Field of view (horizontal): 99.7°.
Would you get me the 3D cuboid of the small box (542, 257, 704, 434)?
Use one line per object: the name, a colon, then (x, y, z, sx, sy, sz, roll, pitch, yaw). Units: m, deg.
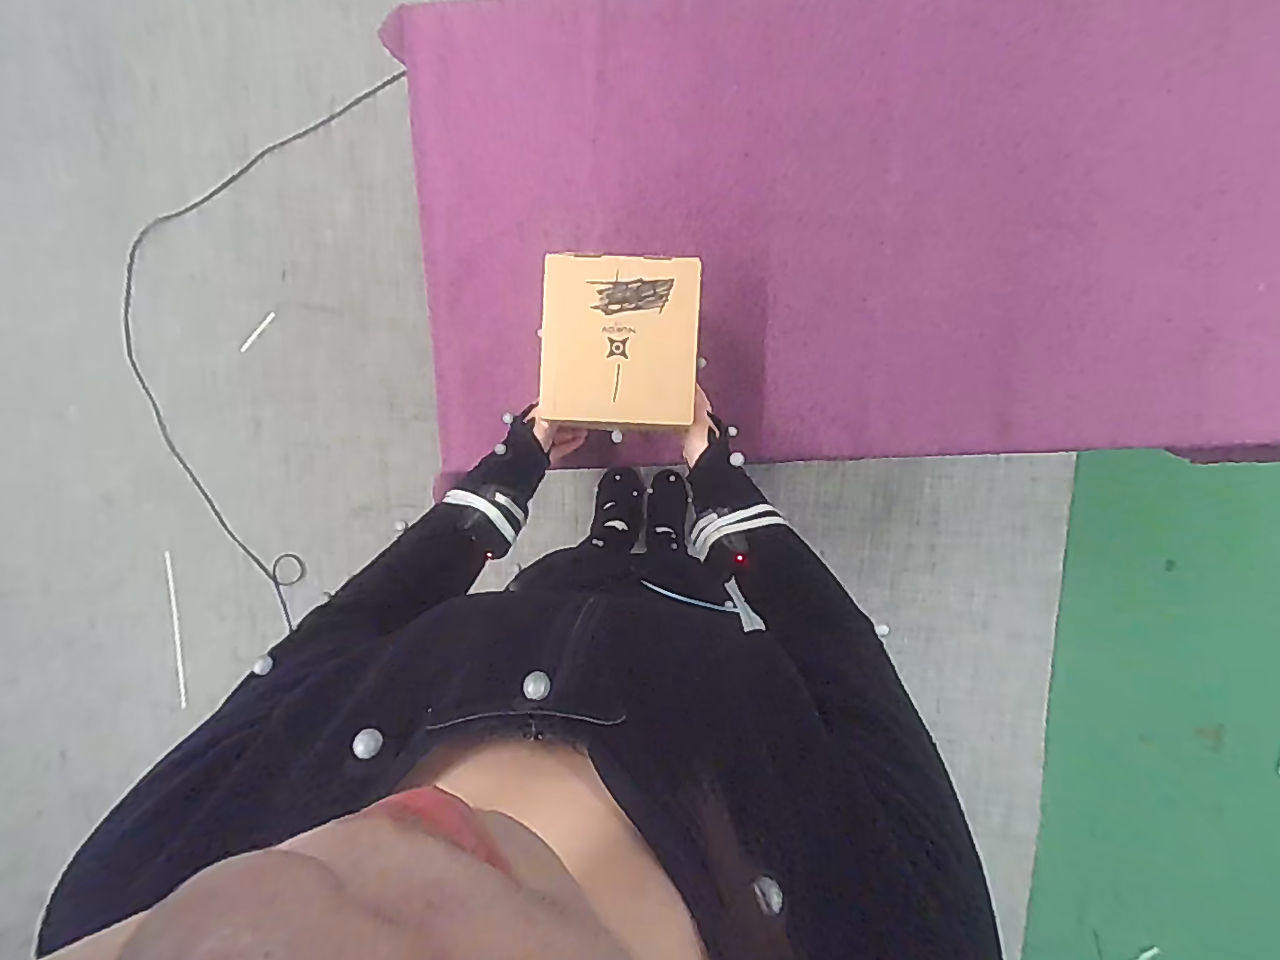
small box: (-0.017, -0.149, 0.652, 0.168, 0.176, 0.179, 3, 94, 2)
